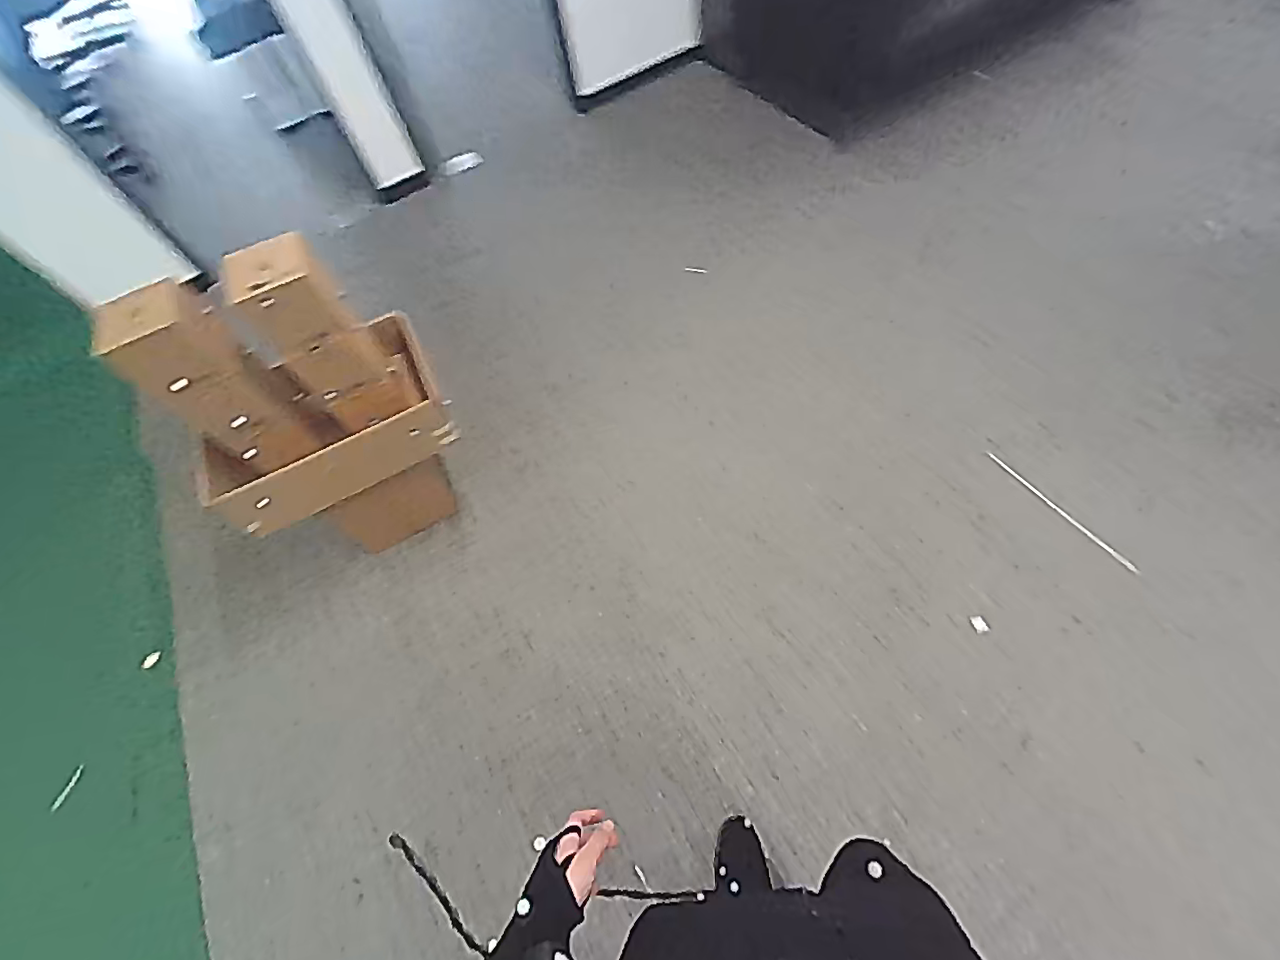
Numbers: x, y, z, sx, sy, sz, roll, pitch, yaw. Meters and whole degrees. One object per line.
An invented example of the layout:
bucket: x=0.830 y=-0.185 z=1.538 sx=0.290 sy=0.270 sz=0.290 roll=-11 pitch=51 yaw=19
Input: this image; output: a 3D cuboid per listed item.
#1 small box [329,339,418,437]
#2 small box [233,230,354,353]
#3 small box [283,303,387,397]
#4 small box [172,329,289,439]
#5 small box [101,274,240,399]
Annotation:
small box: x=-0.747 y=-0.253 z=1.508 sx=0.168 sy=0.176 sz=0.179 roll=-26 pitch=61 yaw=-6
small box: x=-0.783 y=-0.424 z=1.230 sx=0.168 sy=0.176 sz=0.179 roll=-25 pitch=60 yaw=-6
small box: x=-0.768 y=-0.334 z=1.367 sx=0.168 sy=0.176 sz=0.179 roll=-25 pitch=60 yaw=-6
small box: x=-1.013 y=-0.234 z=1.344 sx=0.168 sy=0.176 sz=0.179 roll=-27 pitch=60 yaw=-6
small box: x=-1.033 y=-0.315 z=1.204 sx=0.168 sy=0.176 sz=0.179 roll=-26 pitch=60 yaw=-6
